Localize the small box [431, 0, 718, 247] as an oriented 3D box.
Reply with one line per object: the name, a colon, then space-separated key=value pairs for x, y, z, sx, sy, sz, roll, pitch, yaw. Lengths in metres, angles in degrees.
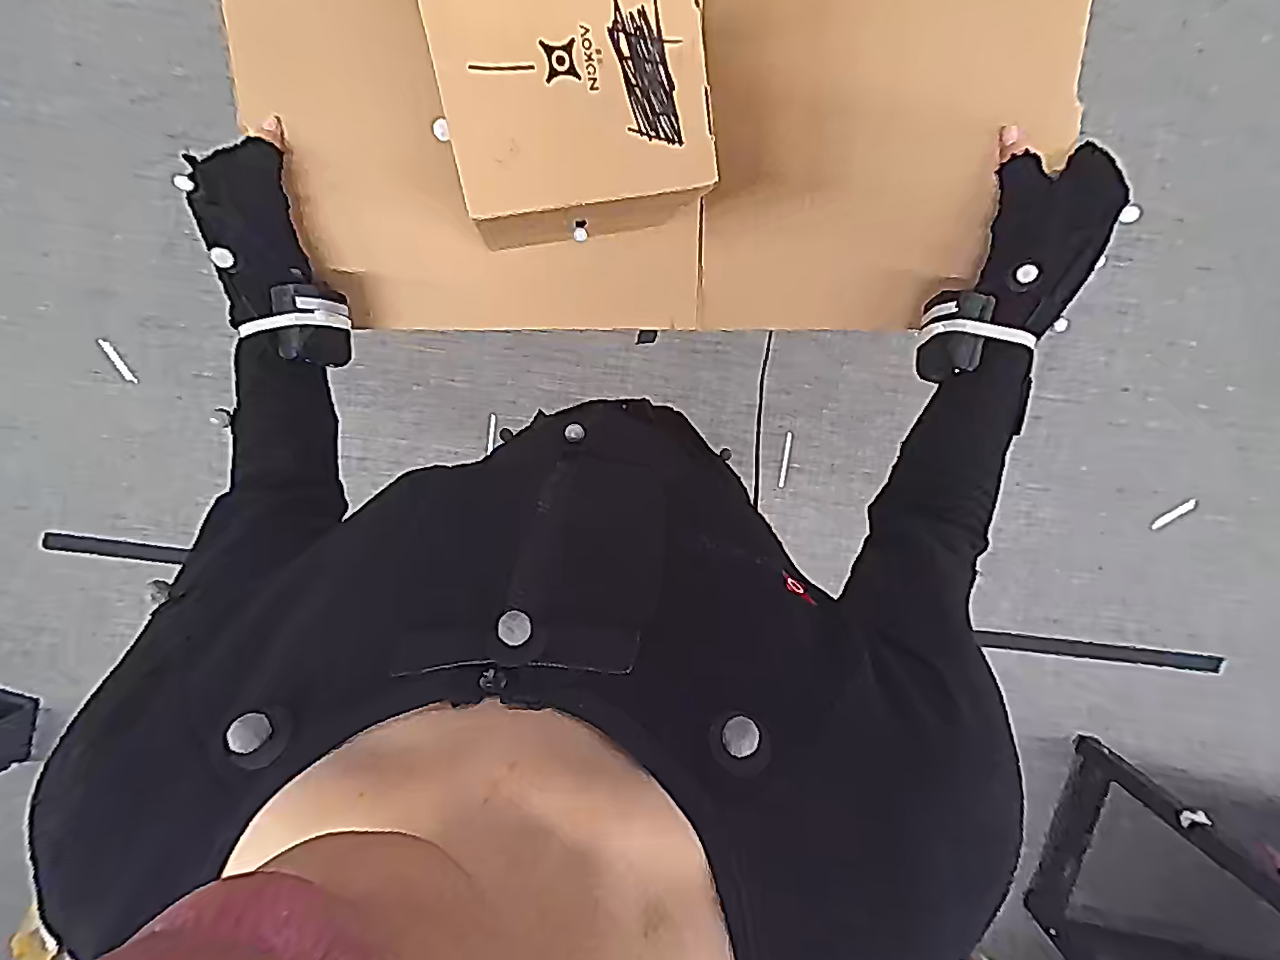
small box: x=-0.053 y=-0.292 z=0.430 sx=0.179 sy=0.176 sz=0.168 roll=-12 pitch=107 yaw=-7
